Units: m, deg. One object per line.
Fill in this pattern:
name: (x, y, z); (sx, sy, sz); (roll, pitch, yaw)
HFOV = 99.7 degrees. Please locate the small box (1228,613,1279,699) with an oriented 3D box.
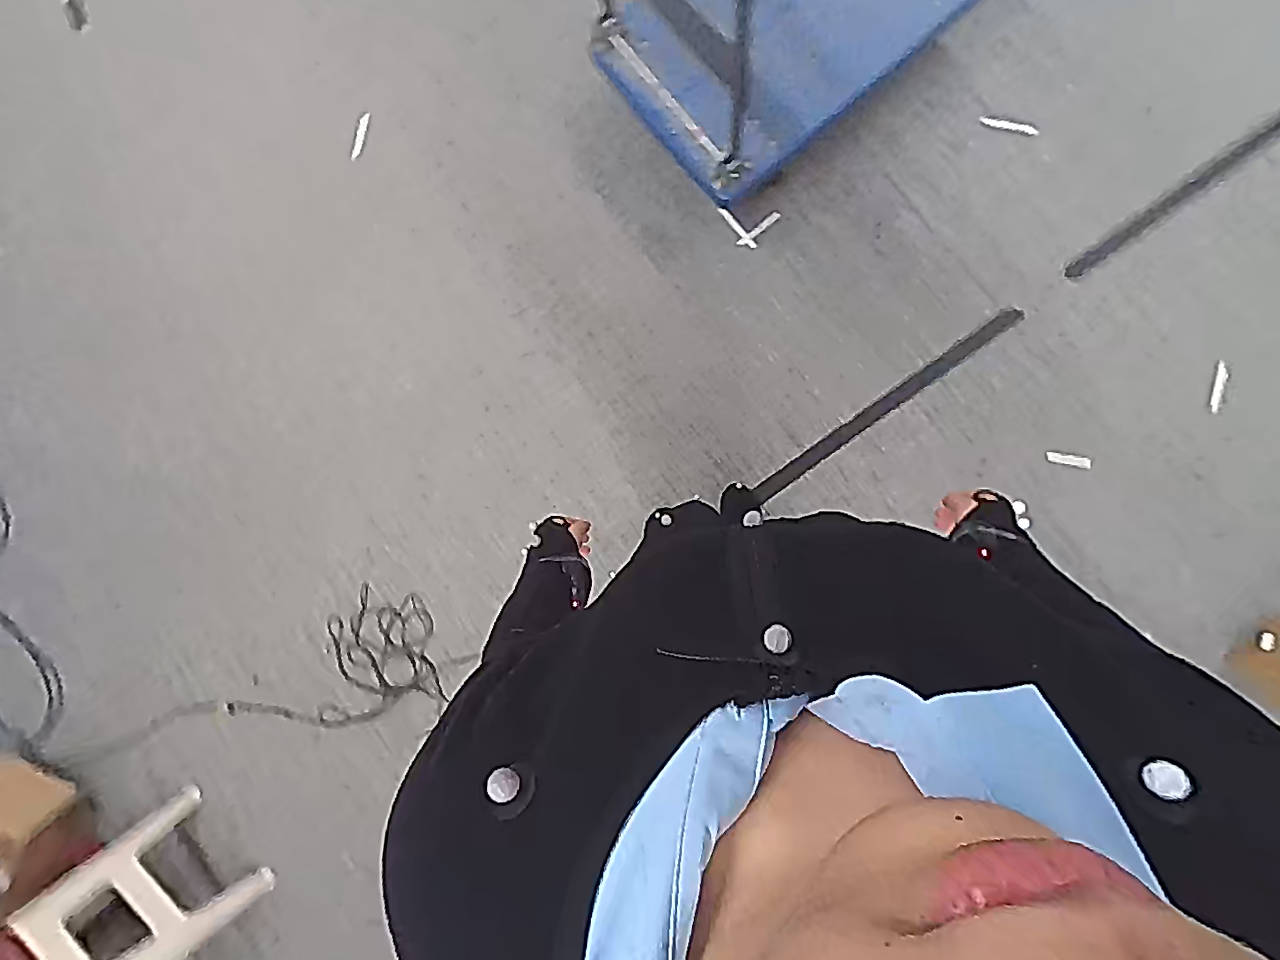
small box: (1.565, 0.433, 1.254); (0.179, 0.176, 0.168); (41, 92, 6)
